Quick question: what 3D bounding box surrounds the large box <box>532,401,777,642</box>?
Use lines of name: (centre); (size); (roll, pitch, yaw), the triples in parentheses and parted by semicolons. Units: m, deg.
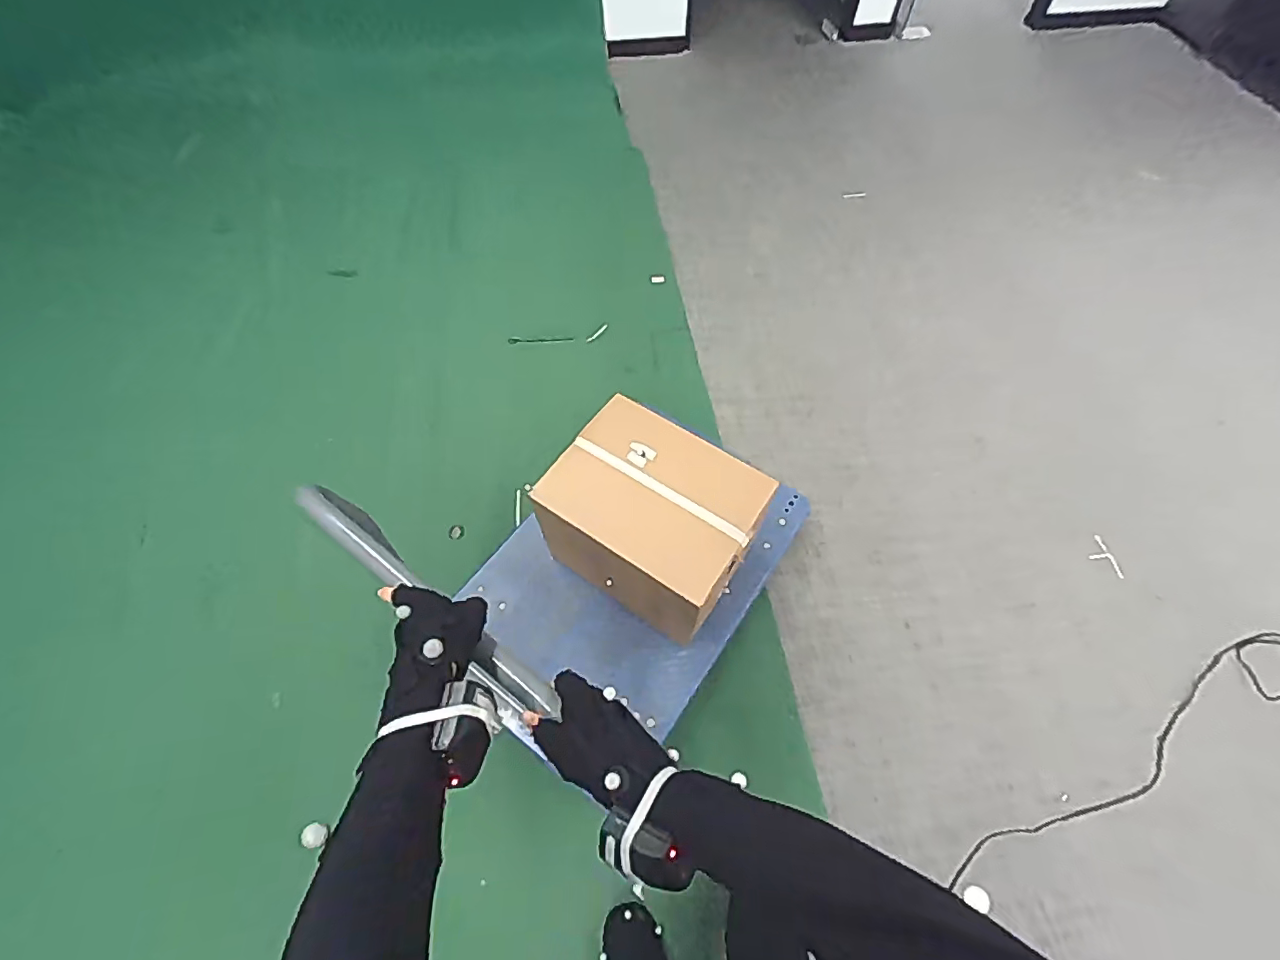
large box: (0.035, 0.100, 1.212); (0.408, 0.320, 0.320); (31, 64, 17)
